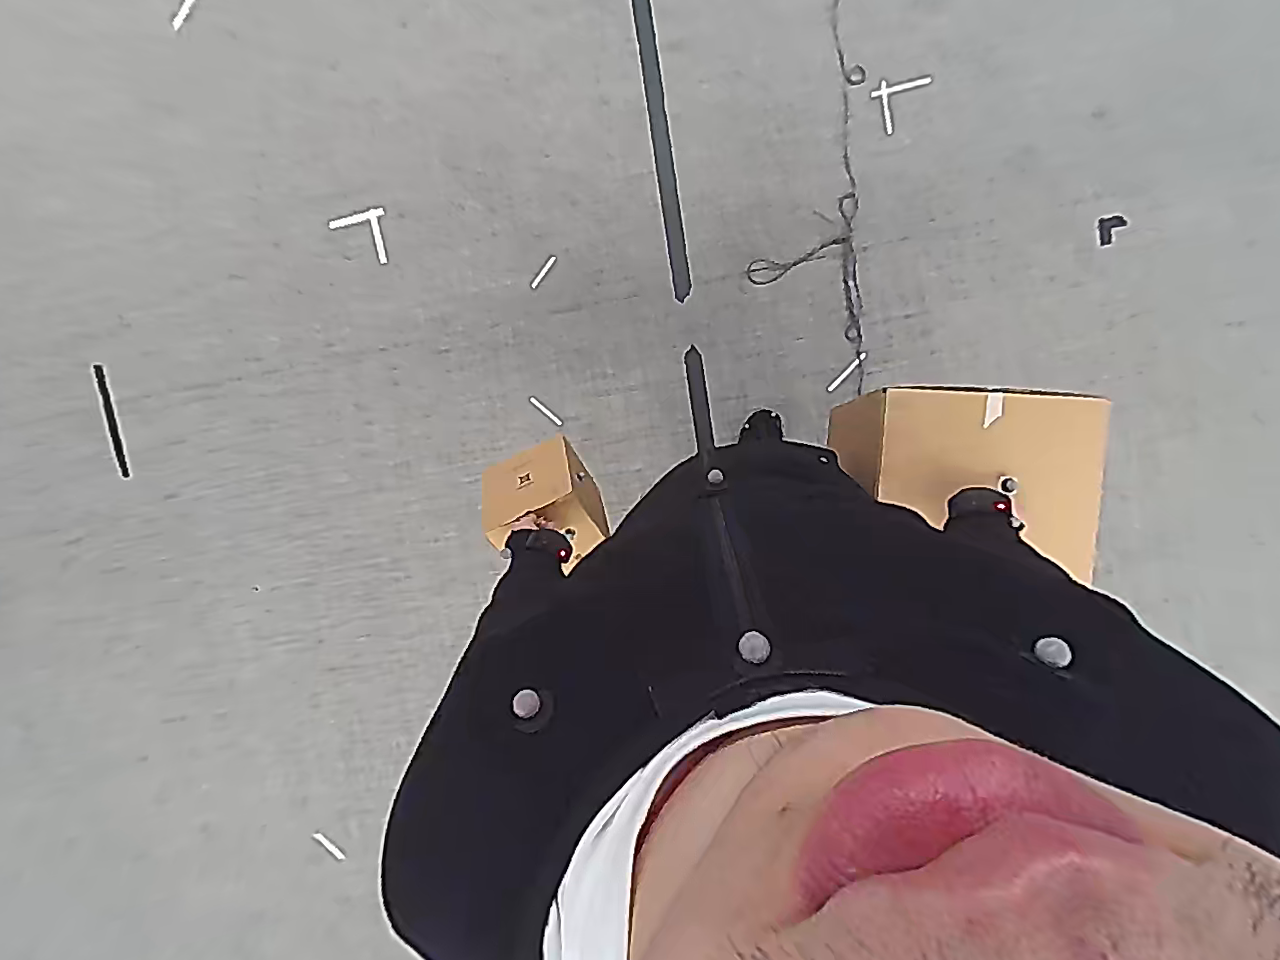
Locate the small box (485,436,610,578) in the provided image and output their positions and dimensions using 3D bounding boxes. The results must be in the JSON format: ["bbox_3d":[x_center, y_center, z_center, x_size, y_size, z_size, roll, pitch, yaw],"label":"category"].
[{"bbox_3d":[-0.167,0.057,0.992,0.168,0.179,0.176,-24,131,5],"label":"small box"}]
